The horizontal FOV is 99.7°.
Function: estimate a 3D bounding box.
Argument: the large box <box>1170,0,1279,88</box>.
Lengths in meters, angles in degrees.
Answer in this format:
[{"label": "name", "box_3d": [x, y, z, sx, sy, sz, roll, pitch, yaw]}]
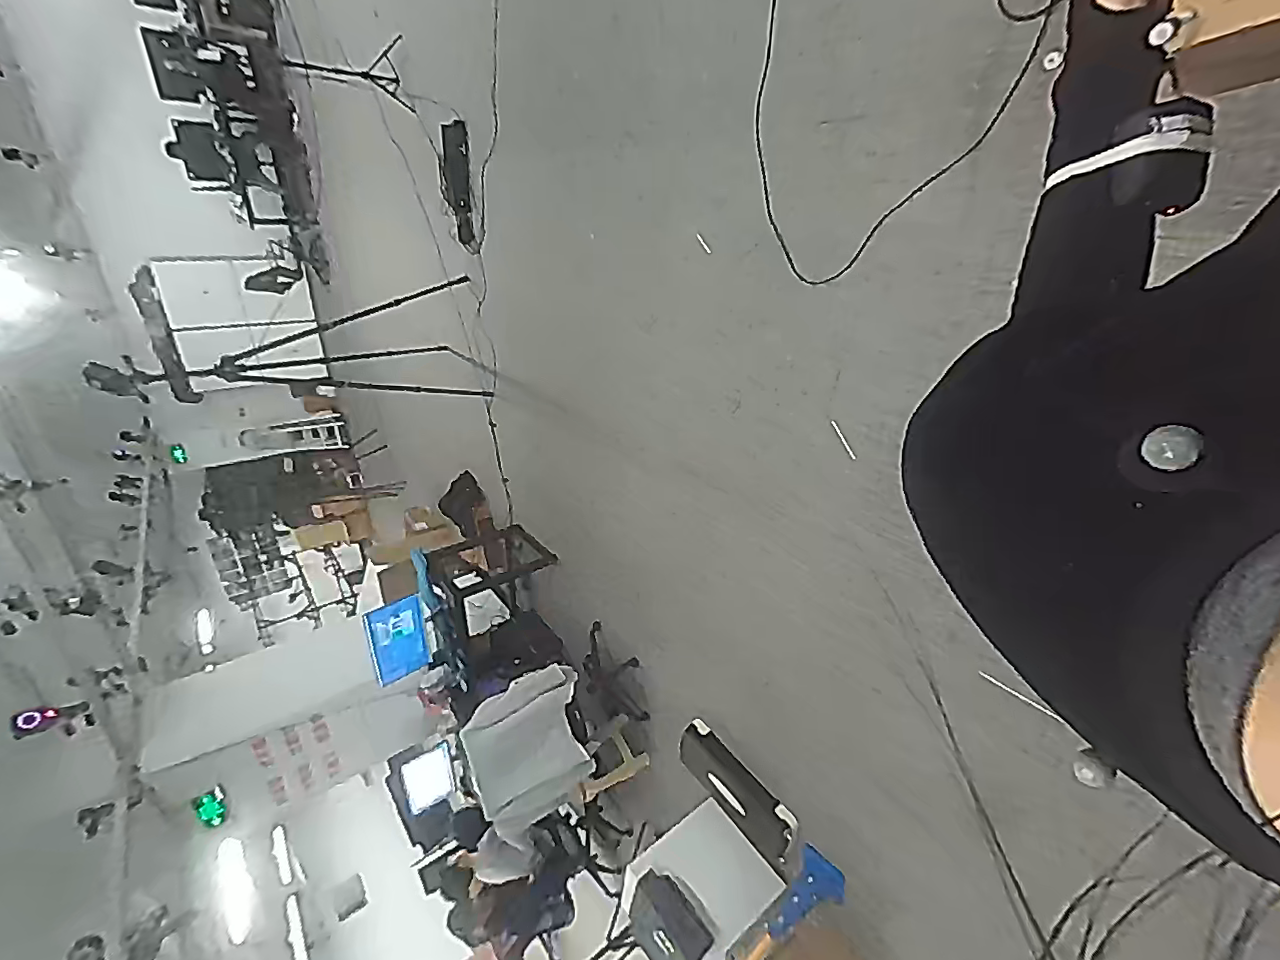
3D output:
[{"label": "large box", "box_3d": [0.569, -0.460, 0.267, 0.408, 0.320, 0.320, 9, 116, 45]}]
